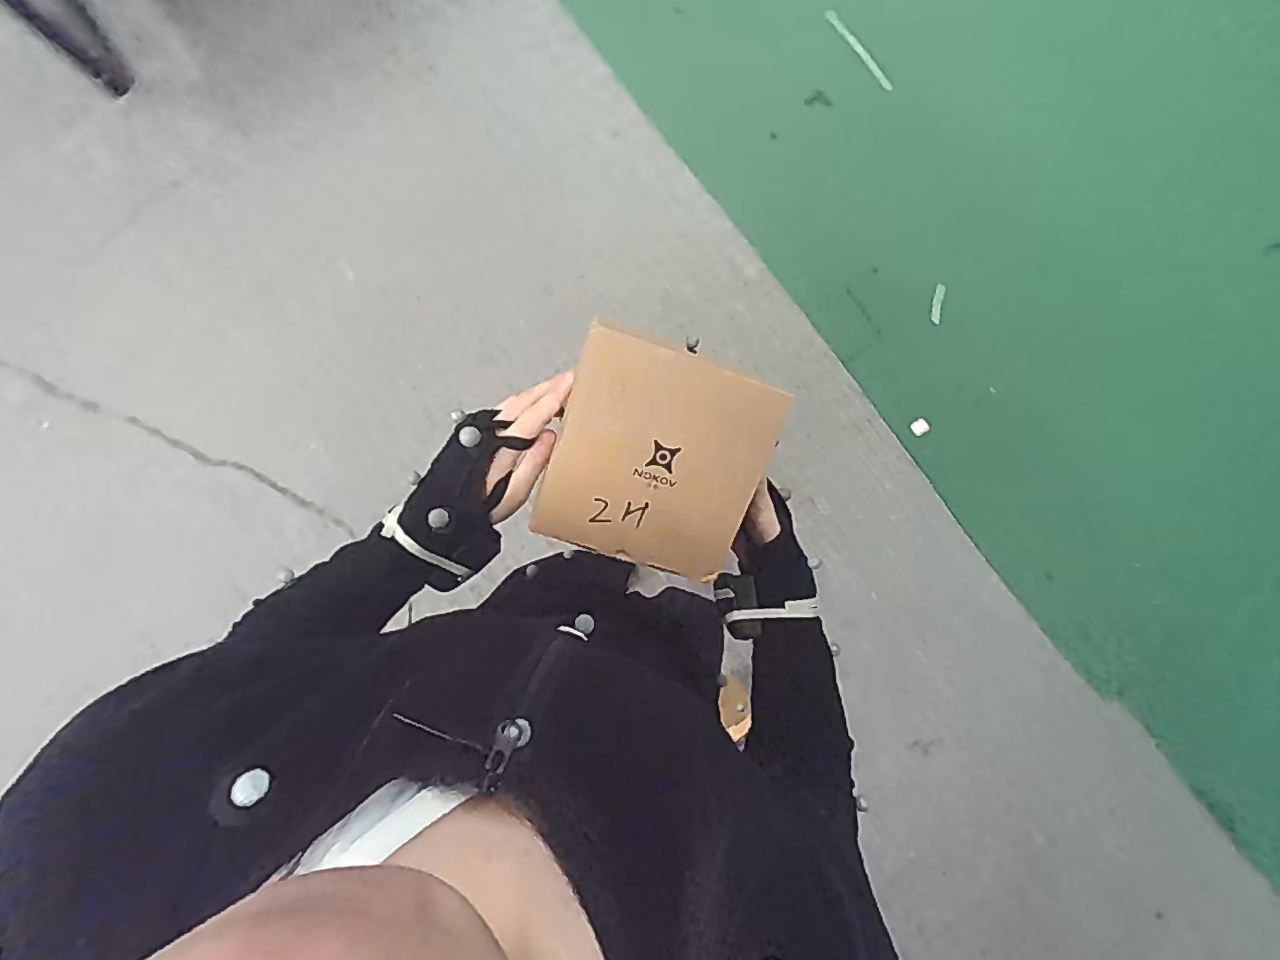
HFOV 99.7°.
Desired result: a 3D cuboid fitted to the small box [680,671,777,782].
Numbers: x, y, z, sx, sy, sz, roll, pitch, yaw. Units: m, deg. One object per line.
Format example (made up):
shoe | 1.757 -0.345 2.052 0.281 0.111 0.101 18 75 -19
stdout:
small box | 0.222 0.630 1.408 0.168 0.176 0.179 -36 86 -4
